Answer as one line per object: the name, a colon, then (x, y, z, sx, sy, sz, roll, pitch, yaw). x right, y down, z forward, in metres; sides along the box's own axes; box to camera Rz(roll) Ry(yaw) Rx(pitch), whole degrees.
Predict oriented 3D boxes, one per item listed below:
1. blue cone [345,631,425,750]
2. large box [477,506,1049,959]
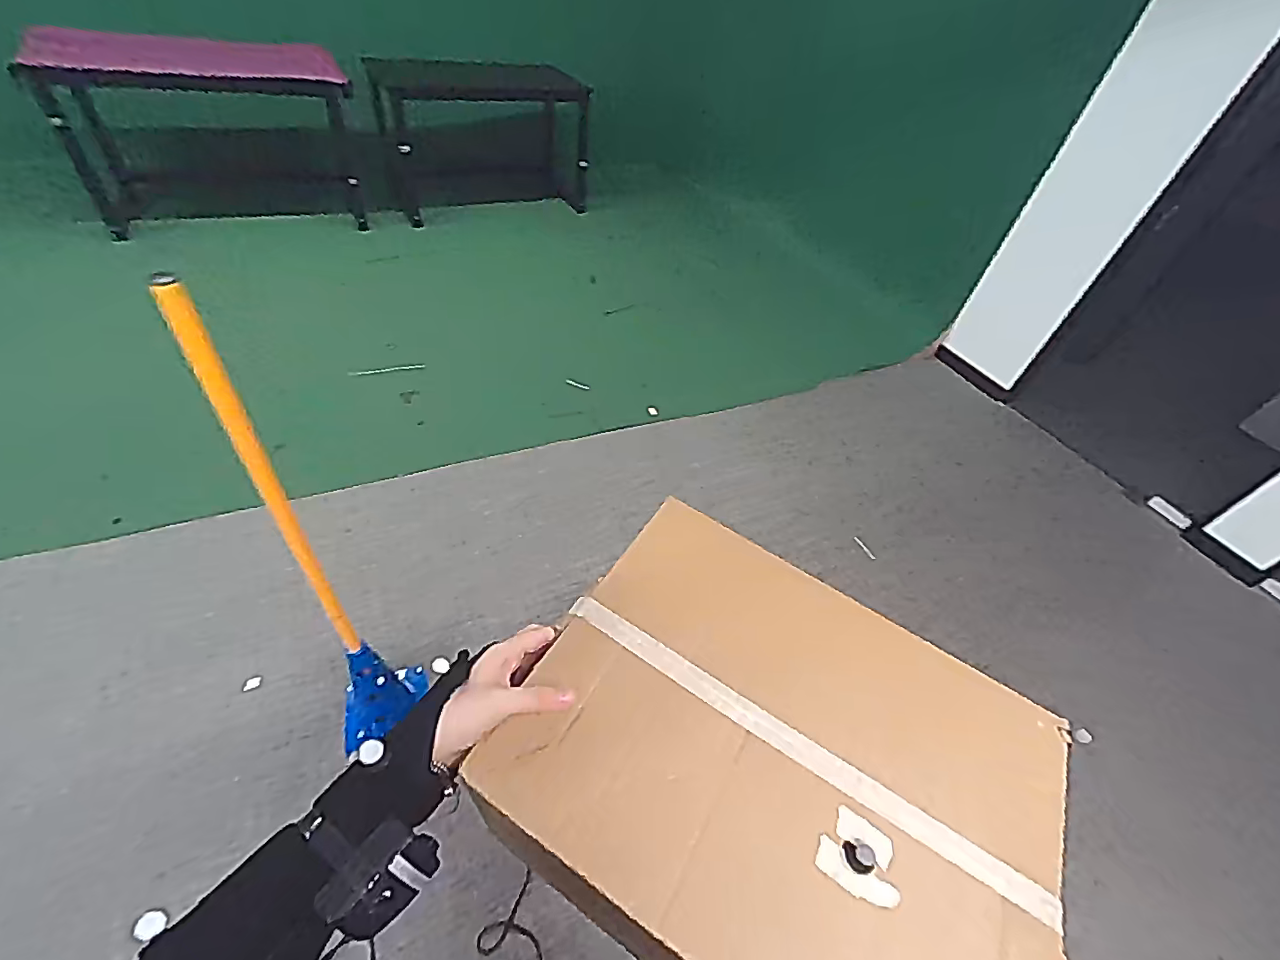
blue cone: (-0.643, 0.482, 1.297, 0.193, 0.380, 0.192, -7, 47, -17)
large box: (0.098, 0.304, 0.550, 0.408, 0.320, 0.320, 31, 52, 14)
